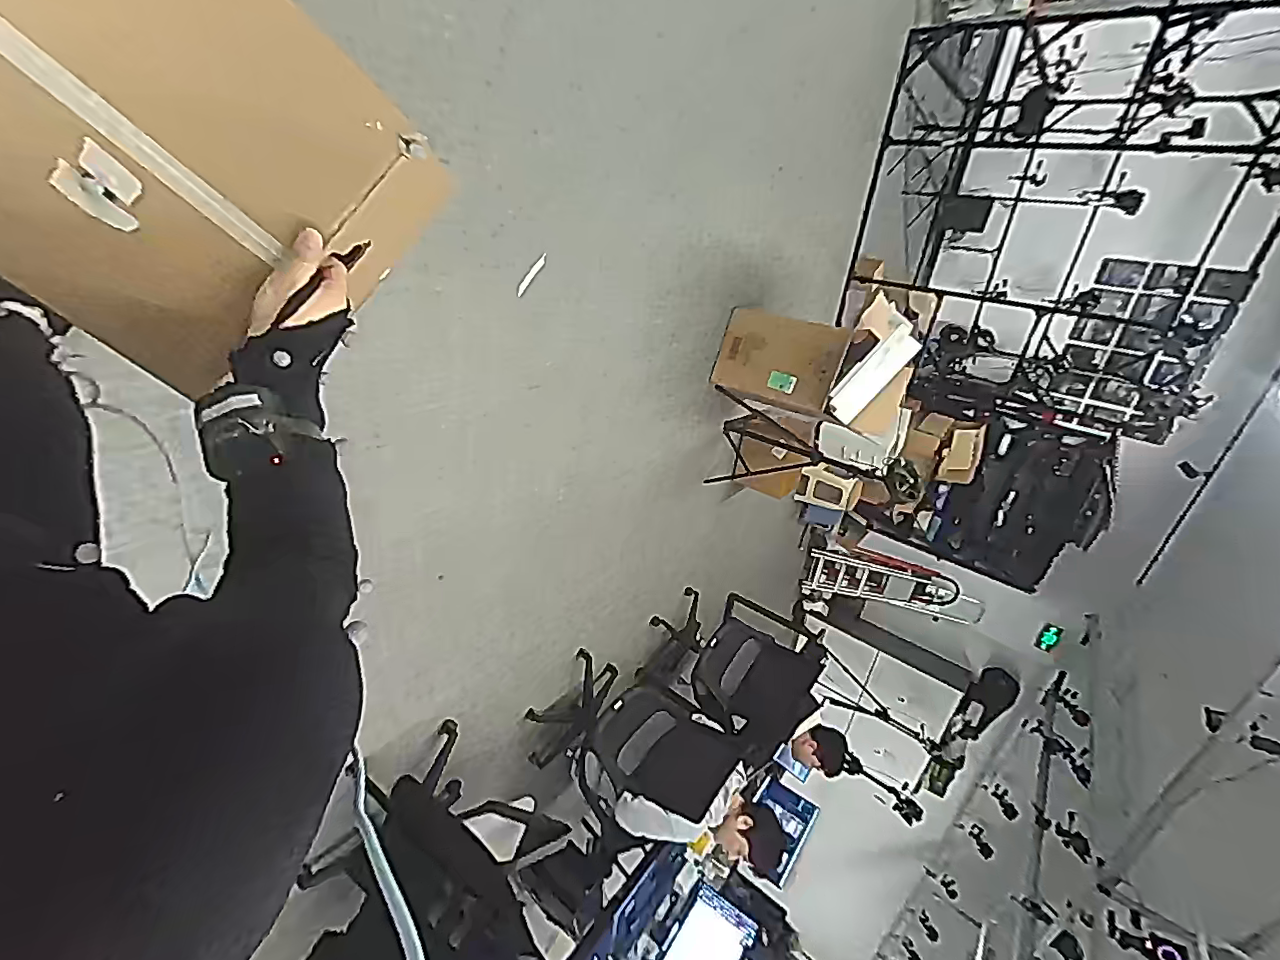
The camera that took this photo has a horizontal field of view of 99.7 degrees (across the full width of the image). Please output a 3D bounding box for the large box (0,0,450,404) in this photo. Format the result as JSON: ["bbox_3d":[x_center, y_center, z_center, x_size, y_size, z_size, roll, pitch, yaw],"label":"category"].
[{"bbox_3d":[-0.456,-0.346,0.526,0.320,0.320,0.408,-45,116,8],"label":"large box"}]
